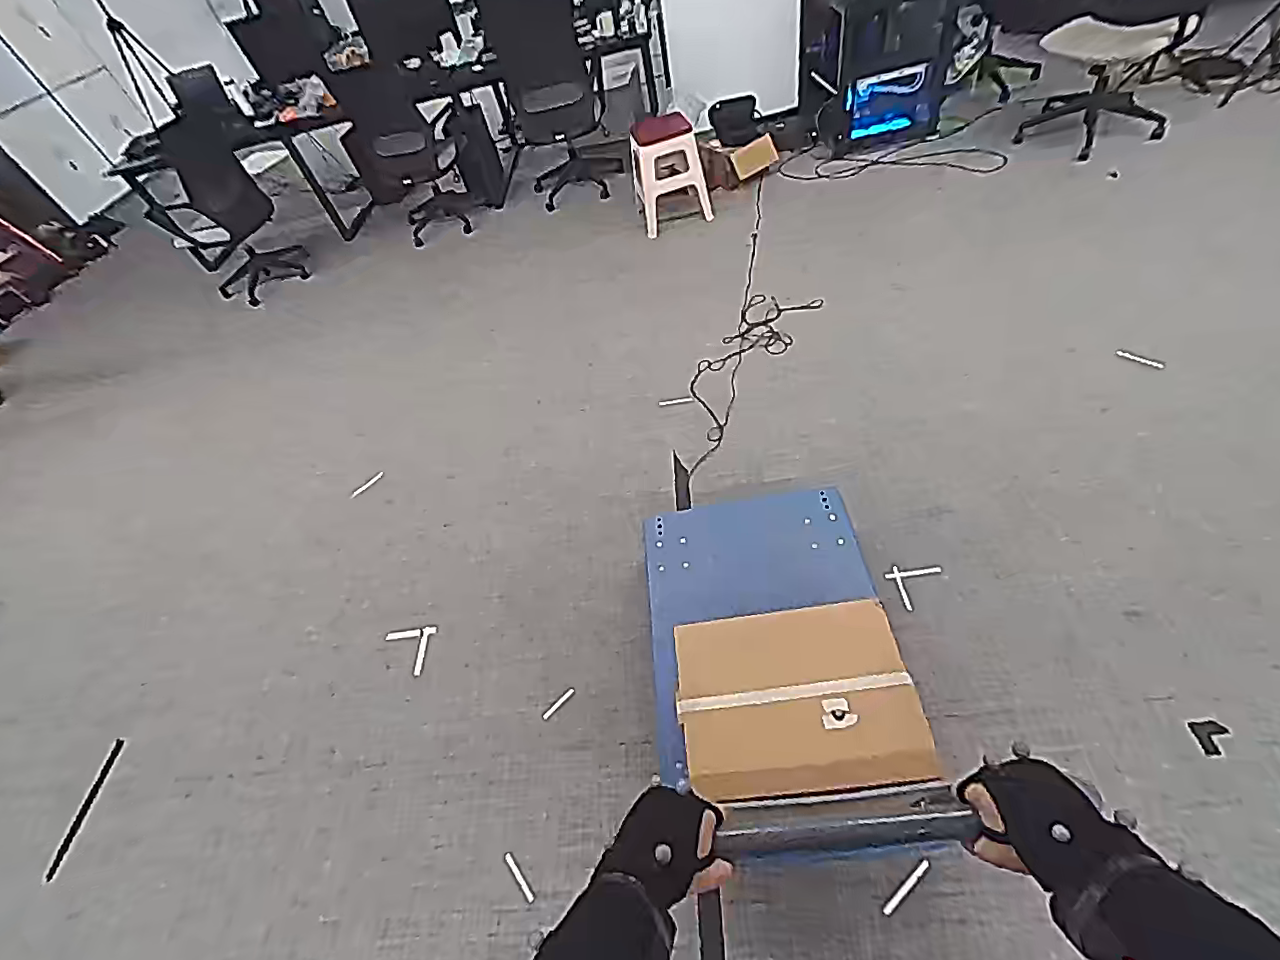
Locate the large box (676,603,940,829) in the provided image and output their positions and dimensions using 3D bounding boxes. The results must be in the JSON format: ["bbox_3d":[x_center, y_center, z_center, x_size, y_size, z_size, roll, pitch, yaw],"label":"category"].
[{"bbox_3d":[0.304,0.485,1.090,0.408,0.320,0.320,-10,51,6],"label":"large box"}]
